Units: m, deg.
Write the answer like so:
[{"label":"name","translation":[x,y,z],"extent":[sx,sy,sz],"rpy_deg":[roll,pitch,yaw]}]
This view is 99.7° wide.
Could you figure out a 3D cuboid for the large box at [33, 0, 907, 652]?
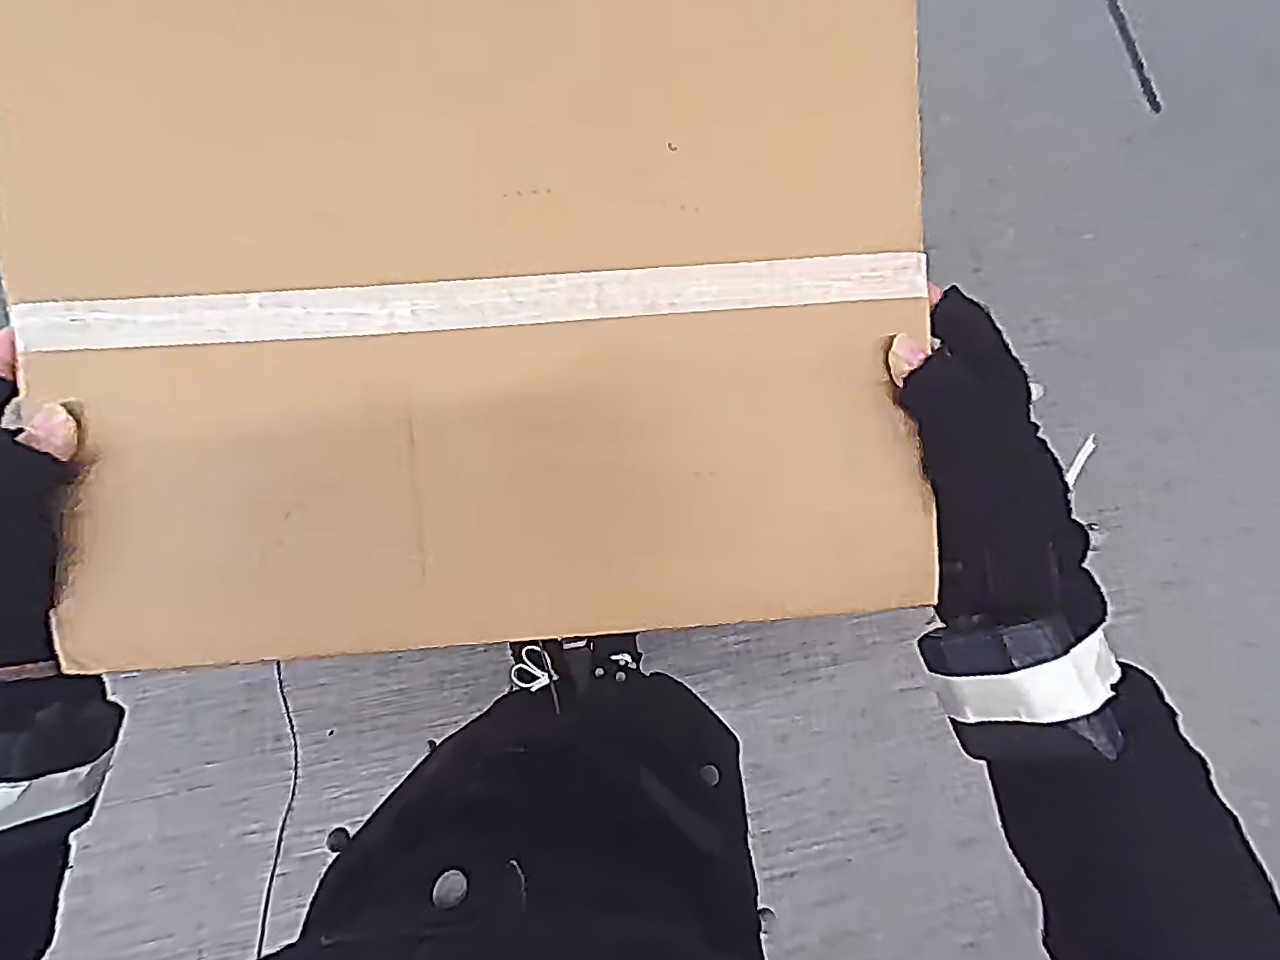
[{"label":"large box","translation":[-0.073,-0.091,0.409],"extent":[0.408,0.320,0.320],"rpy_deg":[-3,93,-3]}]
